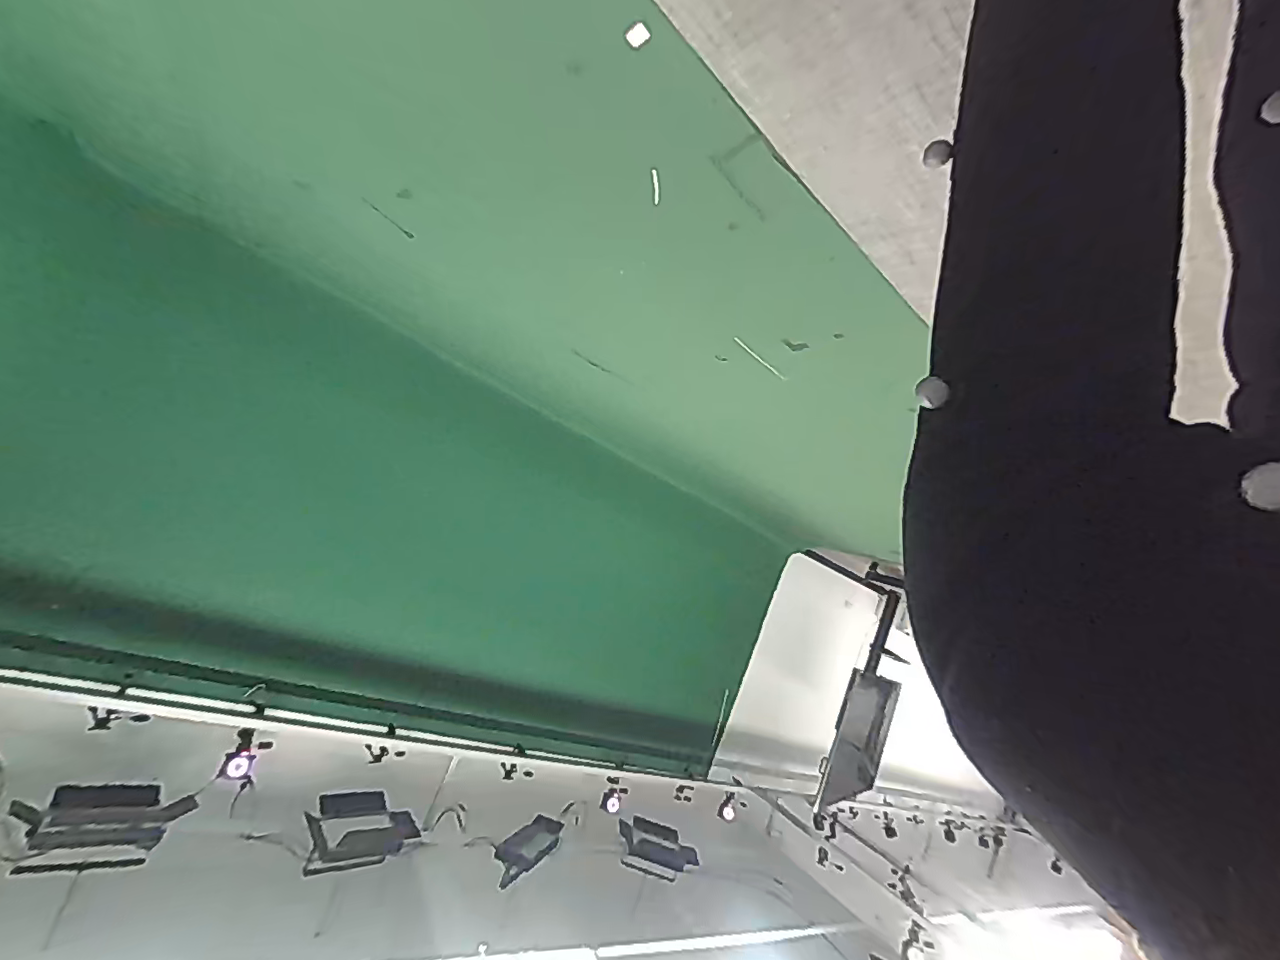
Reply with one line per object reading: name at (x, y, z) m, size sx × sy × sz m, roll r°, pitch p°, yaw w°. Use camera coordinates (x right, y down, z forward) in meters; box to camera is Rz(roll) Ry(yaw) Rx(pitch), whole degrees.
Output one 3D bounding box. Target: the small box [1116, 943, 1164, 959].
small box at (1.578, 1.557, 1.647) m, size 0.168 × 0.176 × 0.179 m, roll 29°, pitch 168°, yaw -27°
